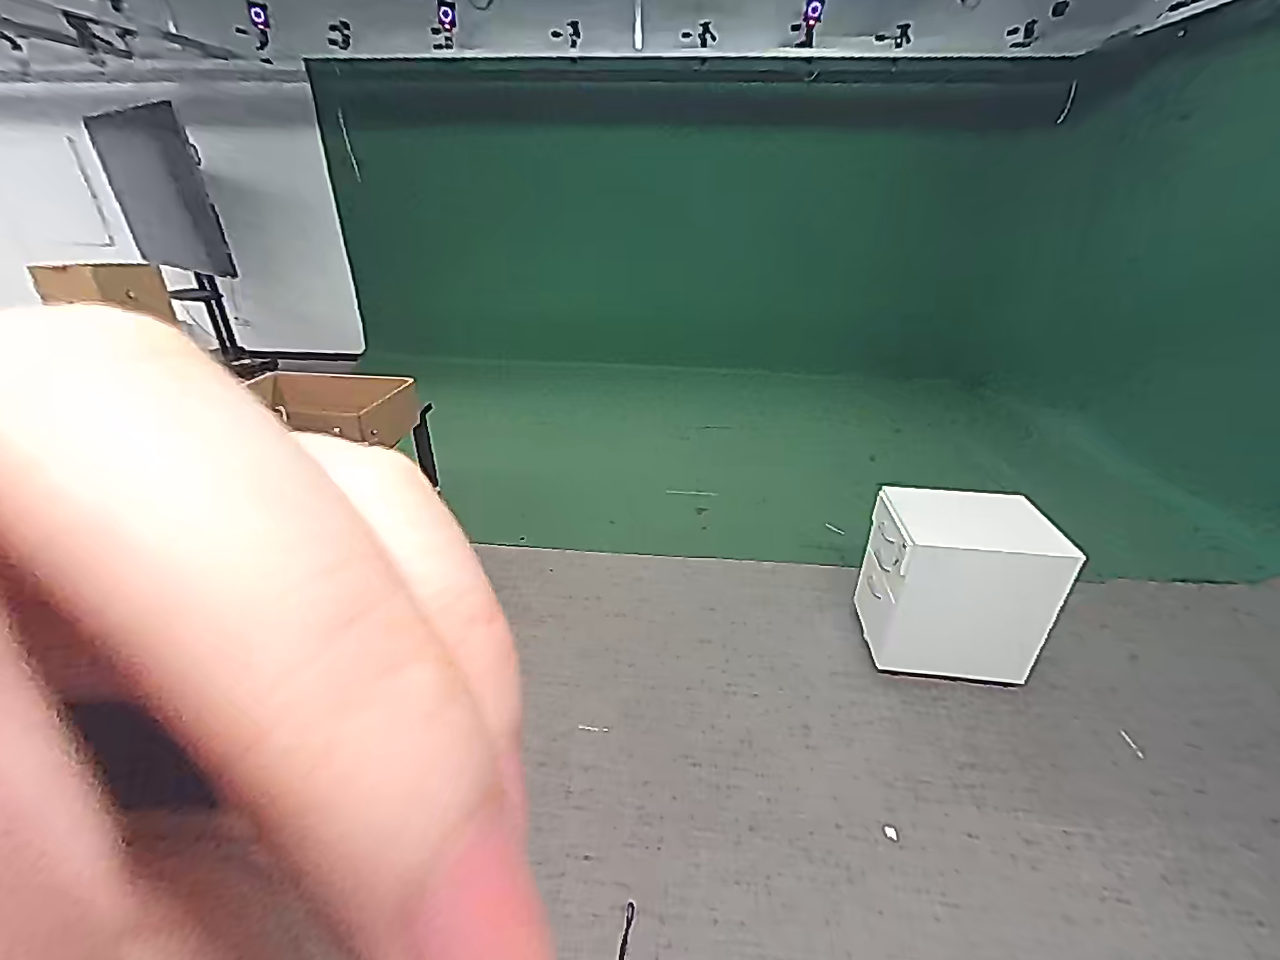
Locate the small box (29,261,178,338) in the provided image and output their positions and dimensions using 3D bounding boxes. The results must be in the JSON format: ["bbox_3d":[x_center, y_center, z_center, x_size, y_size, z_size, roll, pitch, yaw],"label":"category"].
[{"bbox_3d":[-1.303,-0.445,1.331,0.168,0.176,0.179,3,24,6],"label":"small box"}]
